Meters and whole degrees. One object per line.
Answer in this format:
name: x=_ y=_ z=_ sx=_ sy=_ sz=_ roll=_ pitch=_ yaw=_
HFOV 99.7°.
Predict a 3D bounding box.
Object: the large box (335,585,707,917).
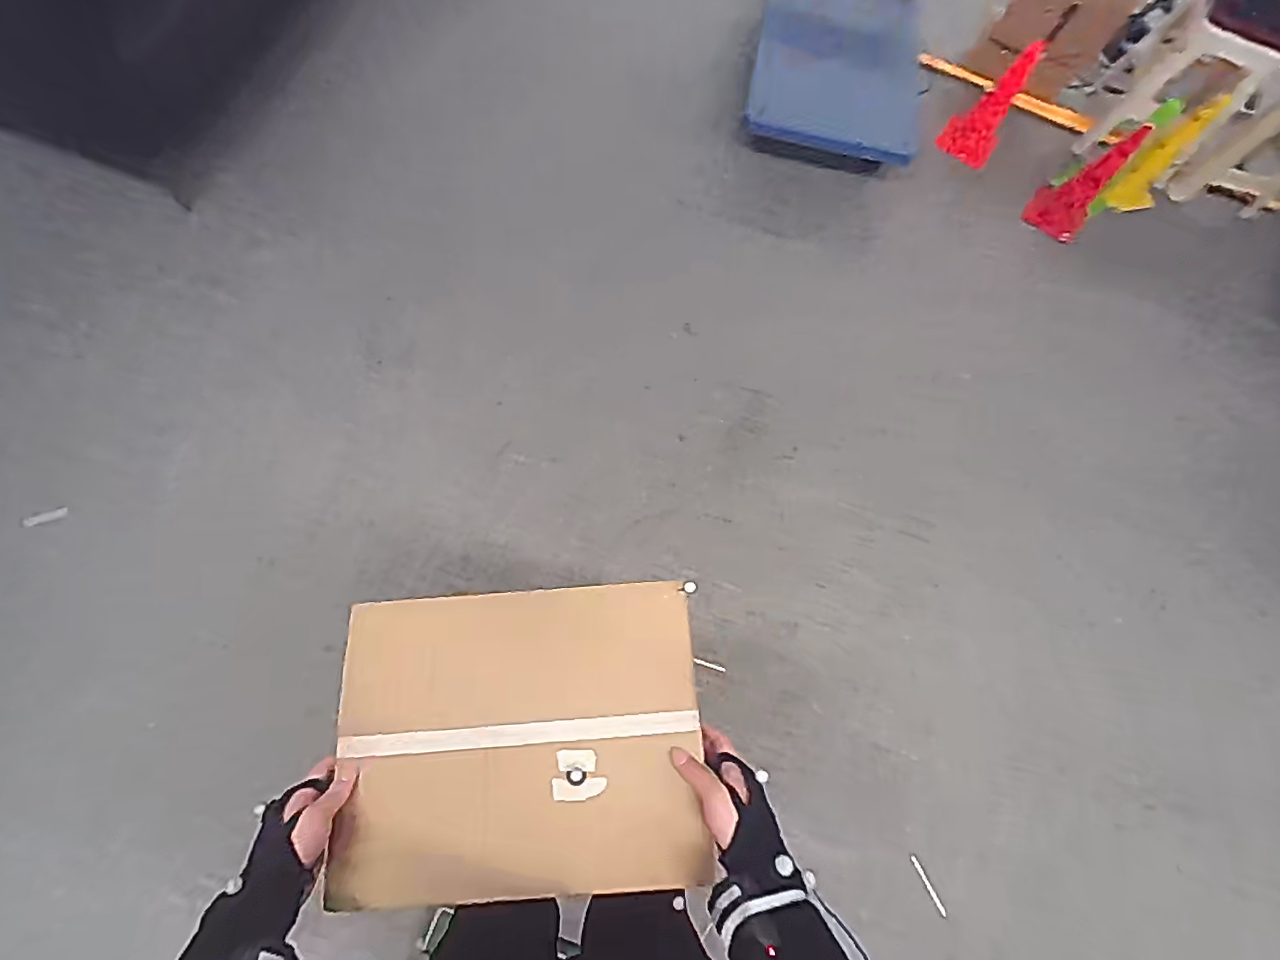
large box: x=-0.138 y=0.344 z=0.759 sx=0.408 sy=0.320 sz=0.320 roll=-6 pitch=71 yaw=-1
